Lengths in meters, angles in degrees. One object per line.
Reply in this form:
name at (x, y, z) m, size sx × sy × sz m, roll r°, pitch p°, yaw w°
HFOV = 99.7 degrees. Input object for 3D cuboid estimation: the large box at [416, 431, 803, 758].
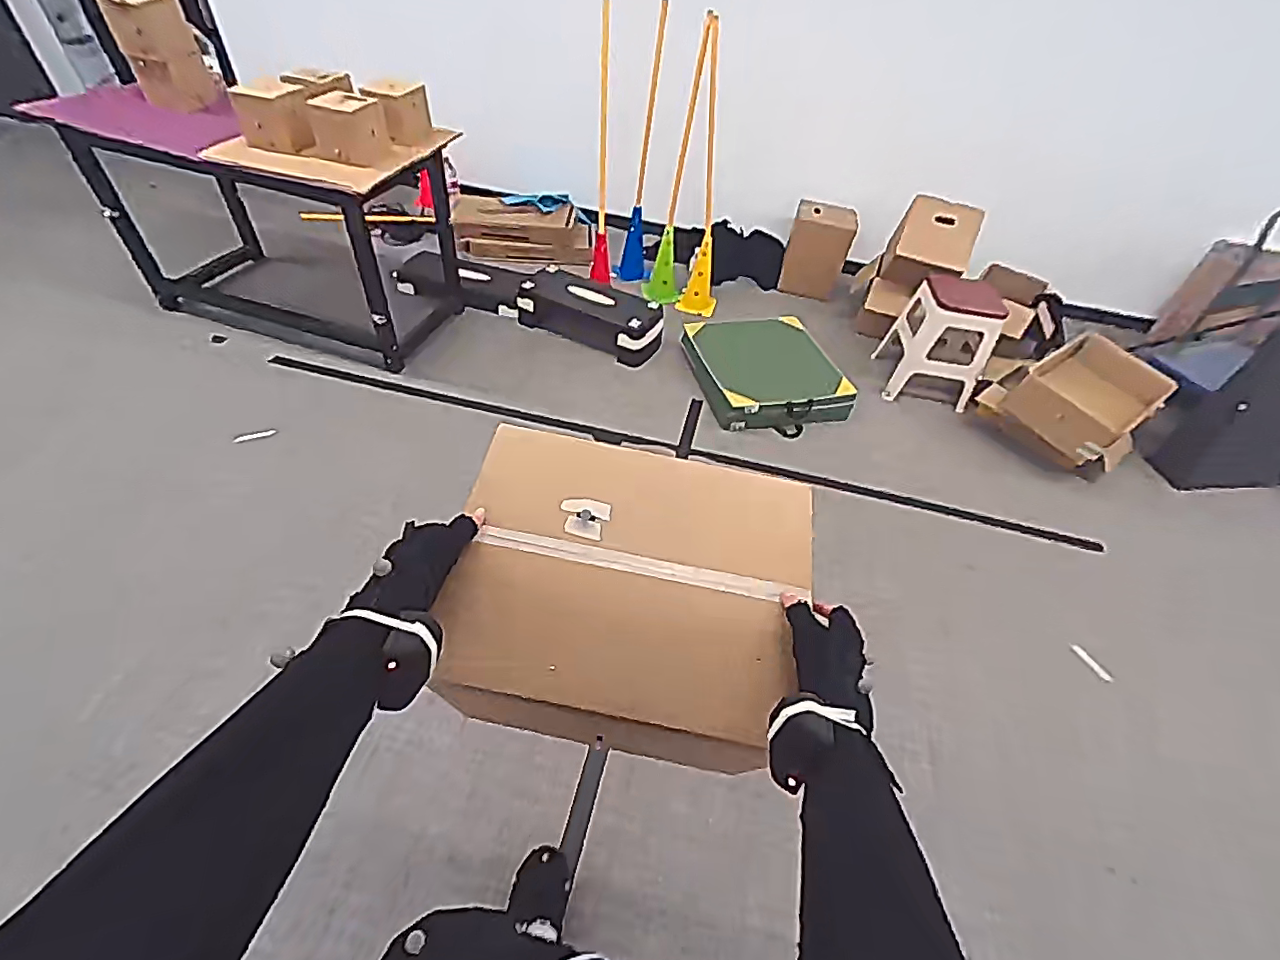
large box at (-0.020, 0.174, 0.748) m, size 0.408 × 0.320 × 0.320 m, roll 11°, pitch 57°, yaw 1°
